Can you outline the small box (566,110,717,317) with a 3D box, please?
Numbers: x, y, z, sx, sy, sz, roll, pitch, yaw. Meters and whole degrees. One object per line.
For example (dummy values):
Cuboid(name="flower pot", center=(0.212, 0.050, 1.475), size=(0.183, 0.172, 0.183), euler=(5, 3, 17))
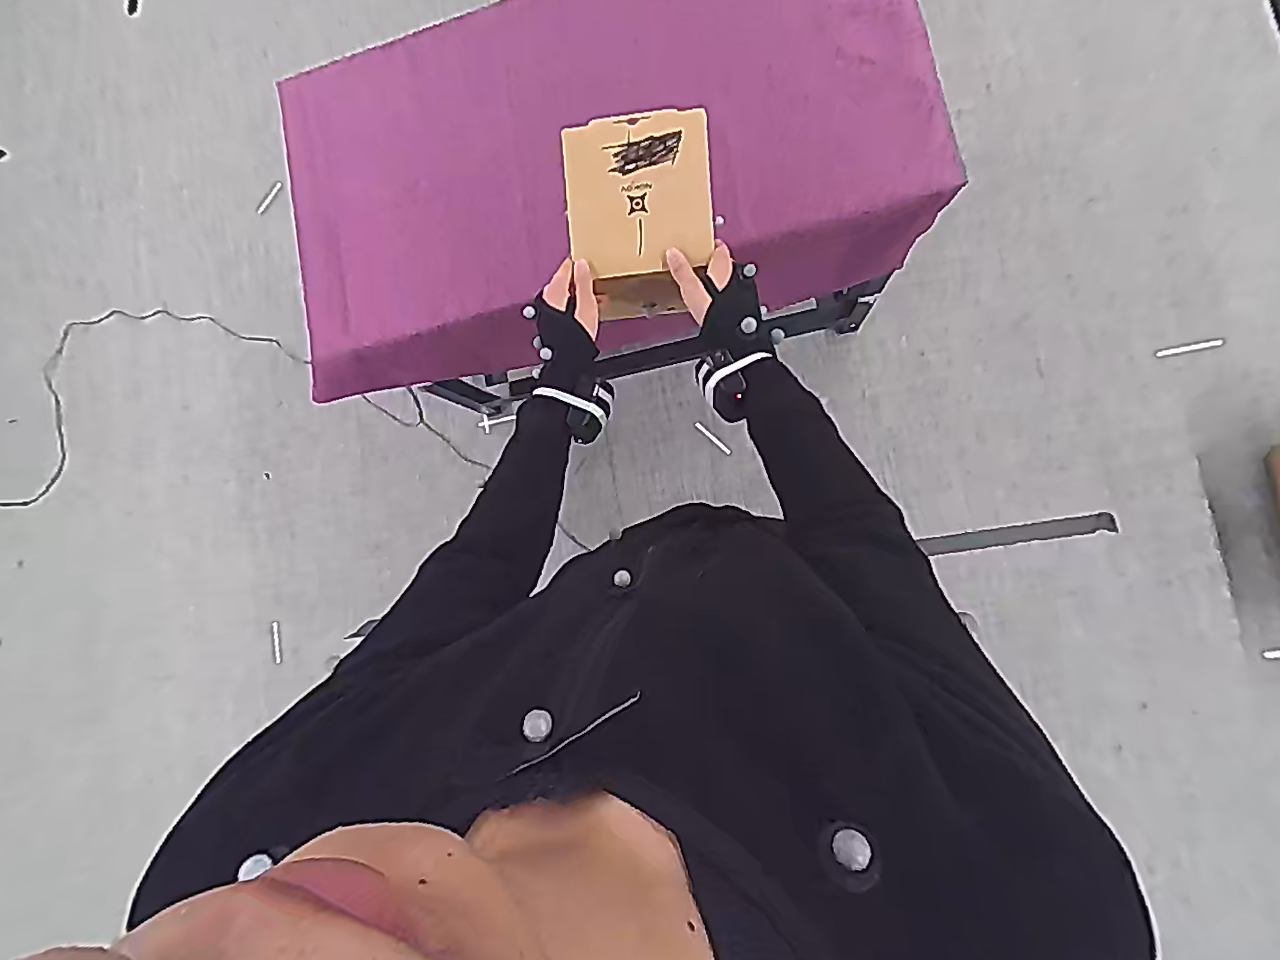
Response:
Cuboid(name="small box", center=(0.009, -0.325, 0.694), size=(0.168, 0.176, 0.179), euler=(-4, 91, 7))
